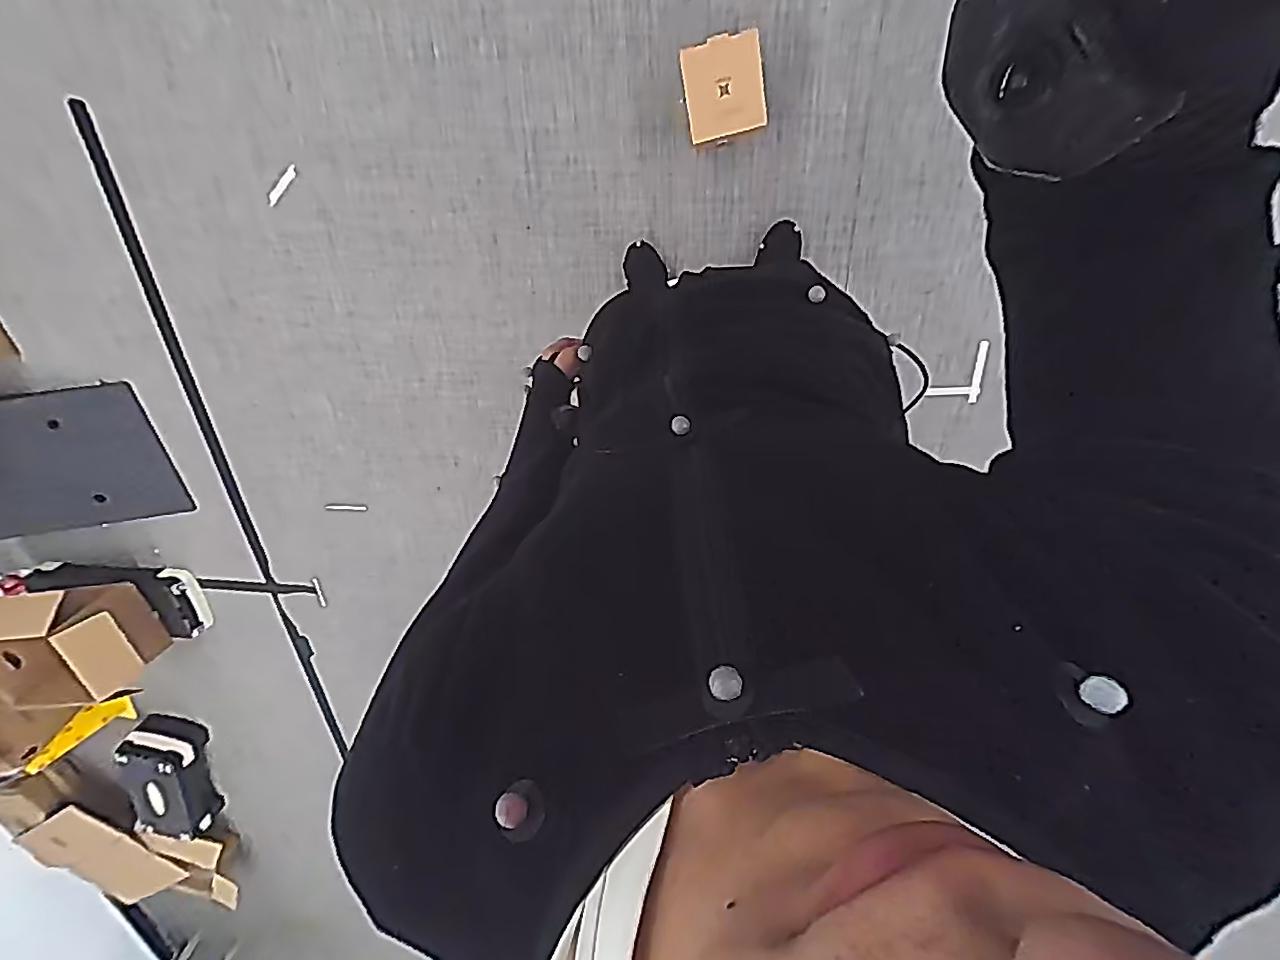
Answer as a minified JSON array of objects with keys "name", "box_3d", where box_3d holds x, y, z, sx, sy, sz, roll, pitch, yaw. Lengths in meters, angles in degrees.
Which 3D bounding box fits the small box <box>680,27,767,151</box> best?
[{"name":"small box","box_3d":[0.186,-0.861,1.207,0.168,0.176,0.179,-8,115,11]}]
